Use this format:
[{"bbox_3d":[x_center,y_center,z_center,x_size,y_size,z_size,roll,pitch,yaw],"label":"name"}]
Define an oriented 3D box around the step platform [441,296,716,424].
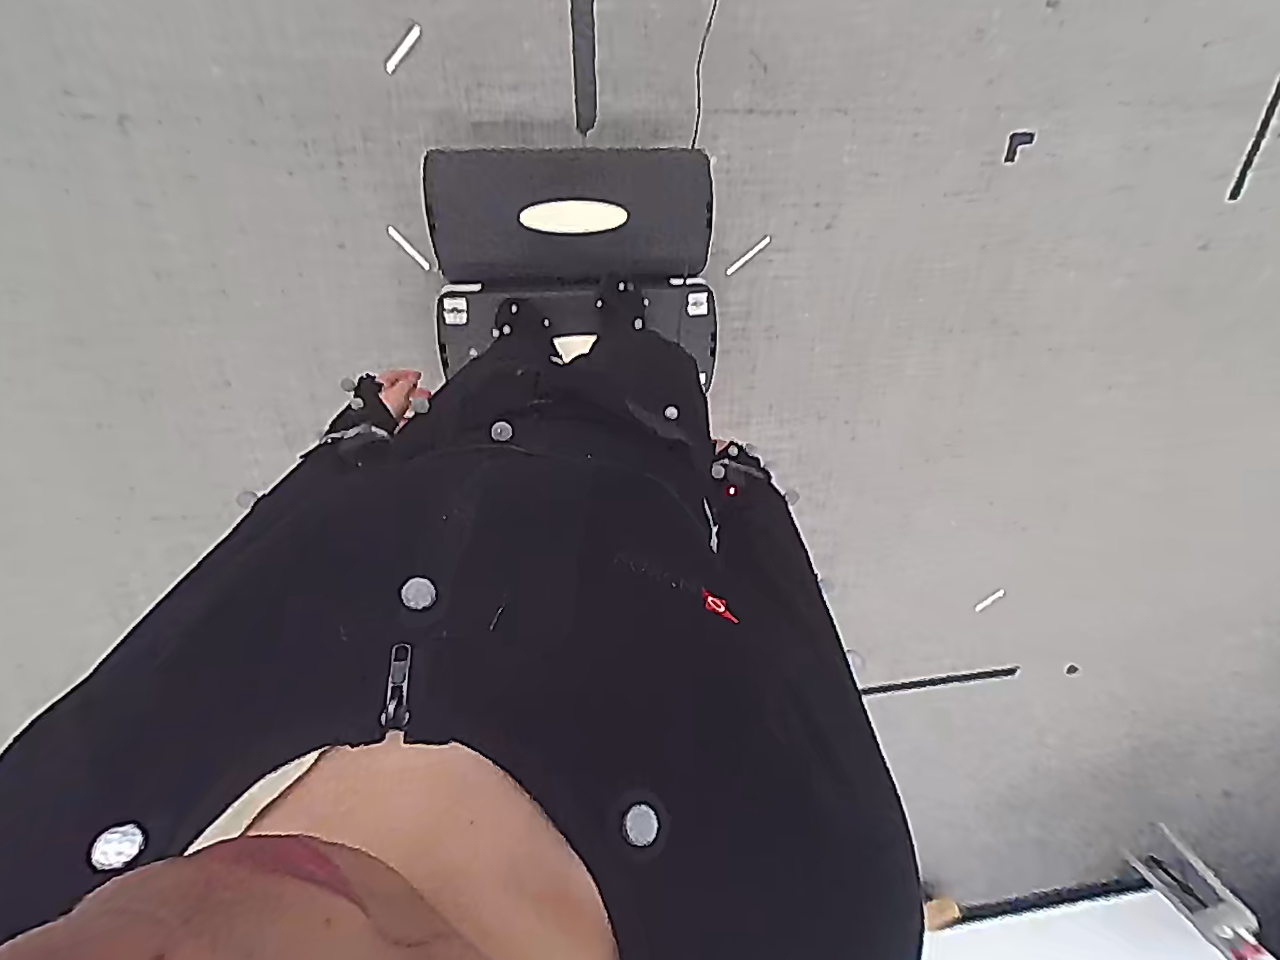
[{"bbox_3d":[-0.149,-0.304,1.392,0.684,0.204,0.286,0,113,-7],"label":"step platform"}]
